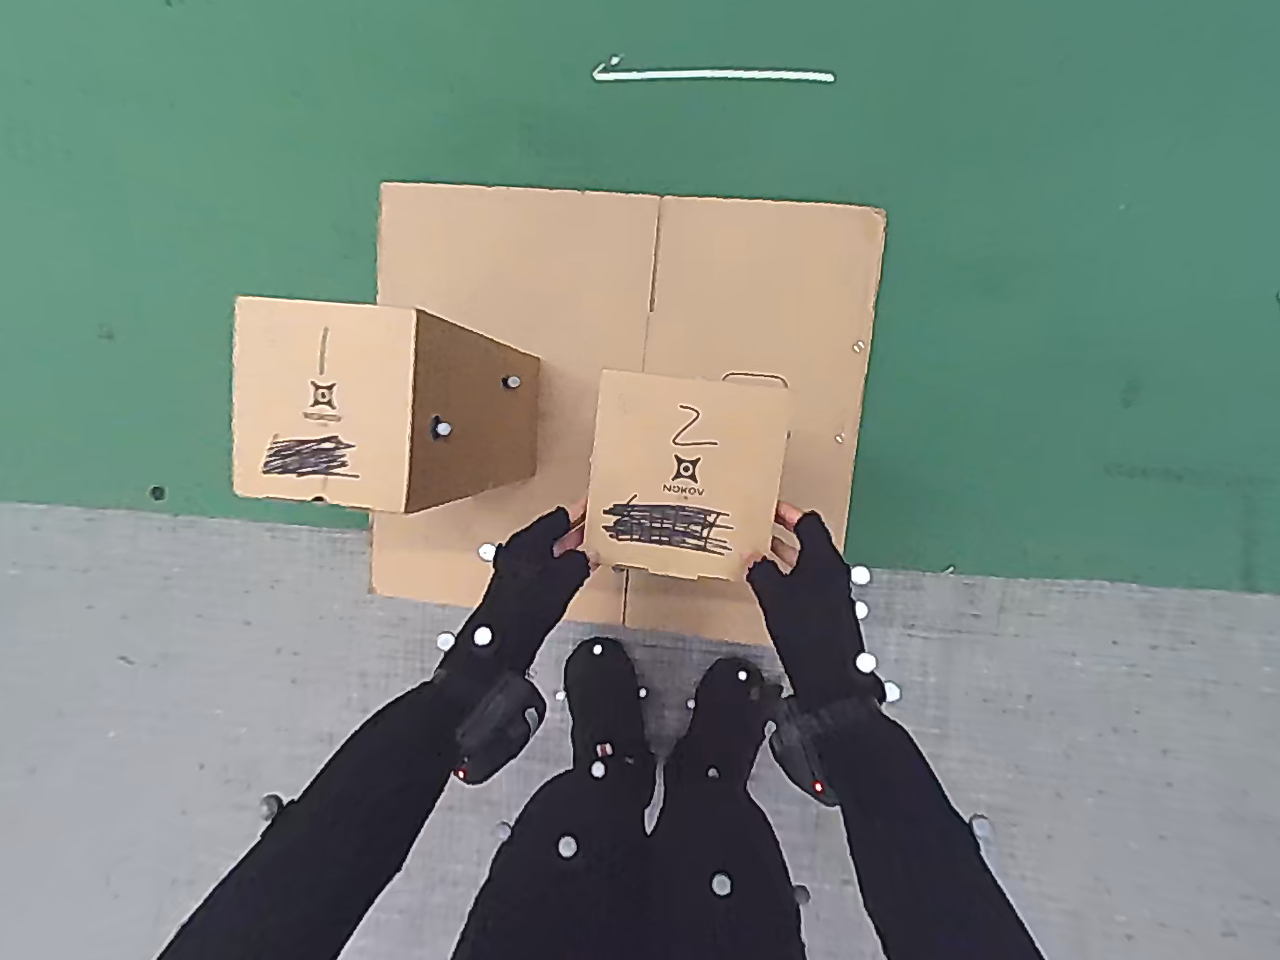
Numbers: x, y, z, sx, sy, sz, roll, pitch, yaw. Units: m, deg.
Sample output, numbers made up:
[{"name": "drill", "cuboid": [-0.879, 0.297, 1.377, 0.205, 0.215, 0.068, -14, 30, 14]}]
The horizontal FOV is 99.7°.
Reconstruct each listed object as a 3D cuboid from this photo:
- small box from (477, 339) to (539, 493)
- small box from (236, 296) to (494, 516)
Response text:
[{"name": "small box", "cuboid": [-0.237, -0.085, 0.702, 0.168, 0.176, 0.179, 5, 97, 7]}, {"name": "small box", "cuboid": [-0.257, -0.070, 0.539, 0.168, 0.176, 0.179, 6, 95, 7]}]
